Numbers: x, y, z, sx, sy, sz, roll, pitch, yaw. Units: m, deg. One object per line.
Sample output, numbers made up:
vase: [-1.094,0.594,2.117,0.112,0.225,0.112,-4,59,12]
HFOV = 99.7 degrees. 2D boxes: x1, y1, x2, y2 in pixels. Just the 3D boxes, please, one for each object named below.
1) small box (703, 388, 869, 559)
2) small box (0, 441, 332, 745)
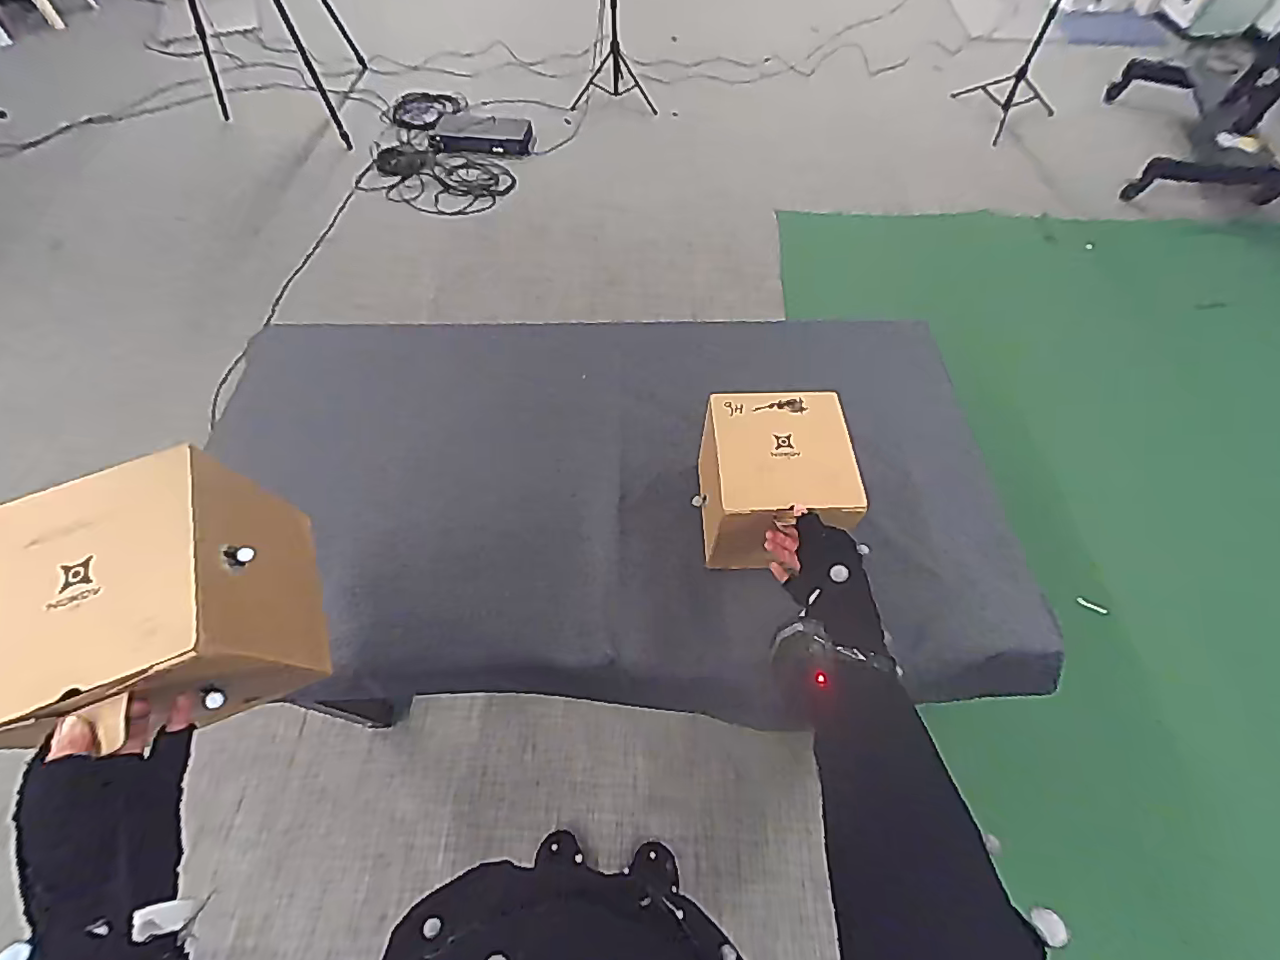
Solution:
small box: [0.176,-0.002,0.715,0.168,0.176,0.179,0,60,-1]
small box: [-0.392,0.101,0.458,0.168,0.176,0.179,-21,66,-7]
